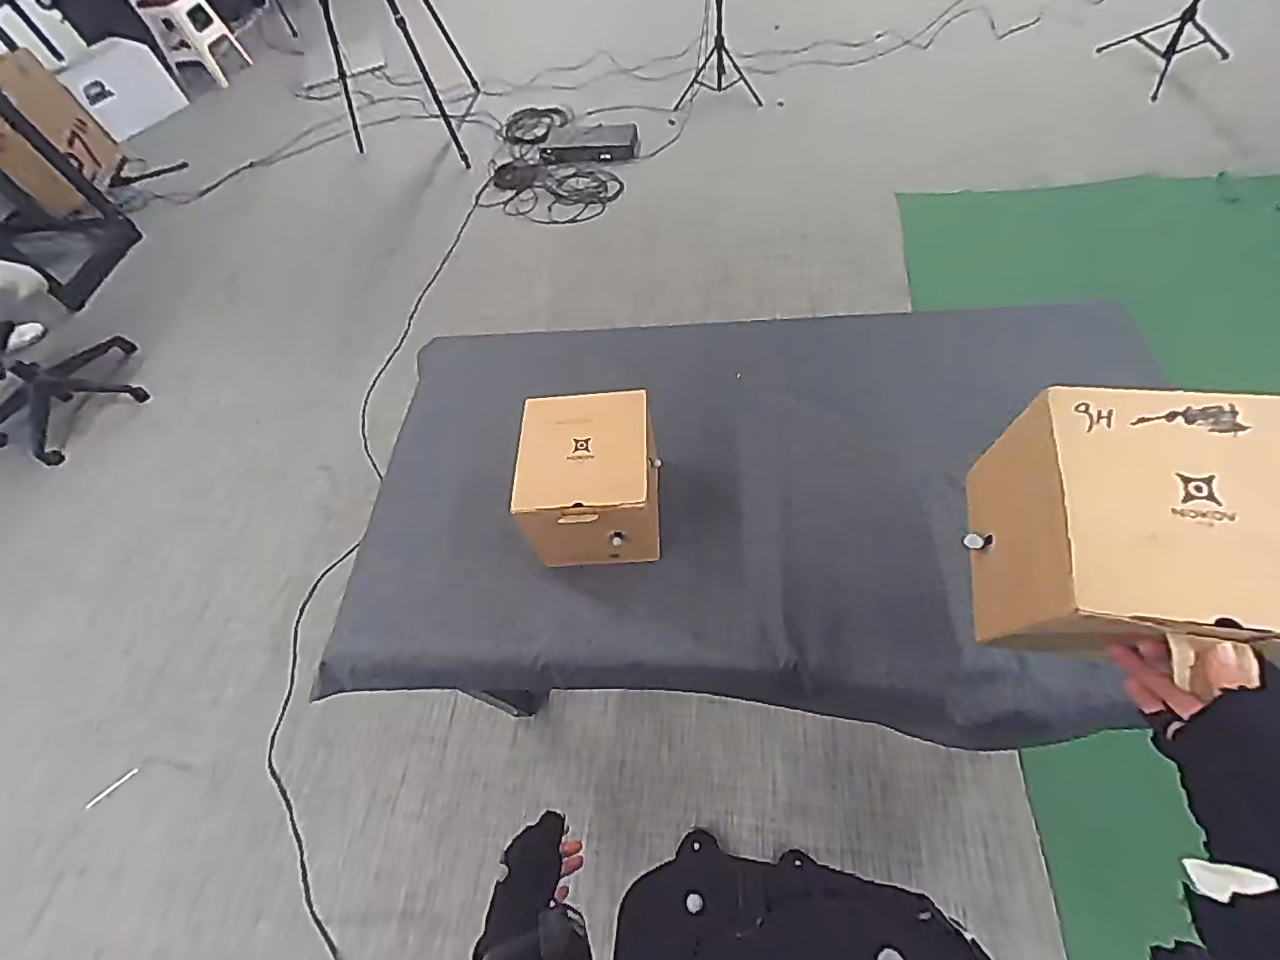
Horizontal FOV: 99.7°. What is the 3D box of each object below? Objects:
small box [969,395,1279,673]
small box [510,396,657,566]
[{"bbox_3d":[0.388,0.052,0.437,0.168,0.176,0.179,5,68,12],"label":"small box"},{"bbox_3d":[-0.065,0.010,0.741,0.168,0.176,0.179,-3,56,4],"label":"small box"}]
